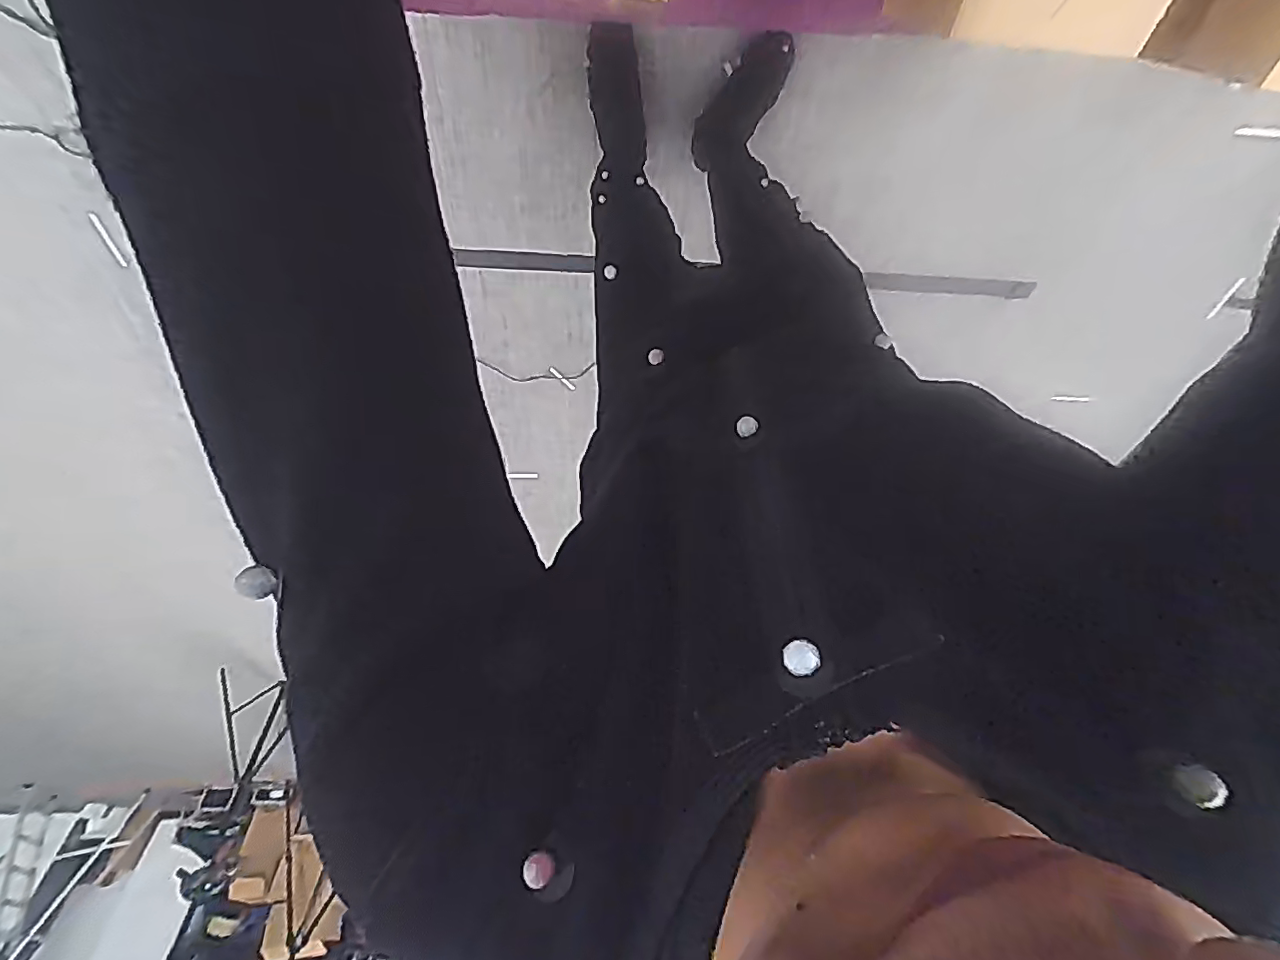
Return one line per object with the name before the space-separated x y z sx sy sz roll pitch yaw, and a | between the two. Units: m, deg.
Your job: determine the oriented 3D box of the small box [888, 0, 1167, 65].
small box | 0.330 -0.467 0.438 0.168 0.176 0.179 3 136 -4
